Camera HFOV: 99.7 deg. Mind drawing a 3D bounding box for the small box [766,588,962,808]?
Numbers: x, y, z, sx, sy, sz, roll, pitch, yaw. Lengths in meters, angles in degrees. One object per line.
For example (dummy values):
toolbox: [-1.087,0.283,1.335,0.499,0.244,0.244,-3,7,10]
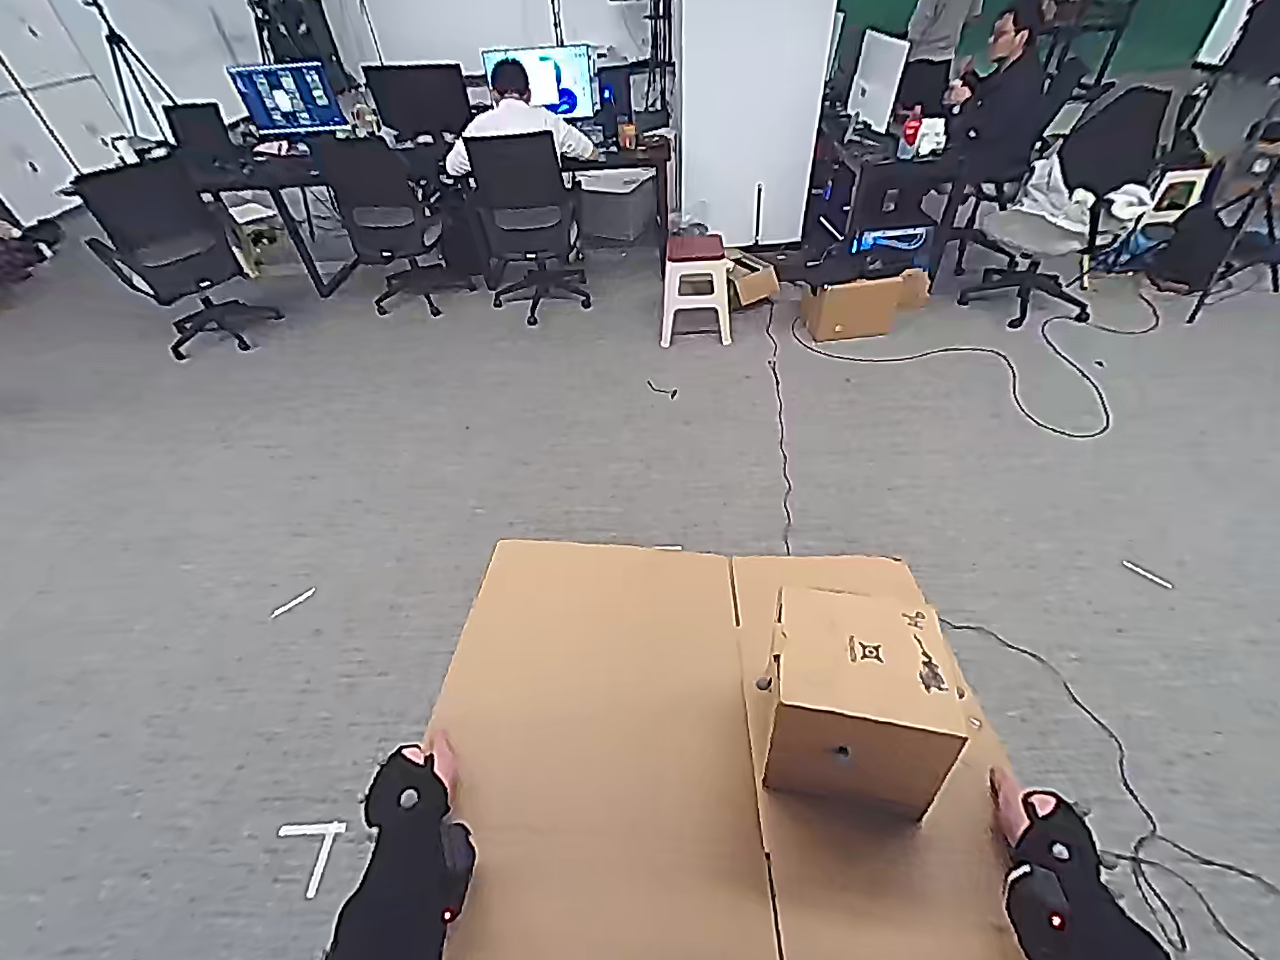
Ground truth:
small box: [0.244,0.253,0.635,0.179,0.176,0.168,5,36,13]
